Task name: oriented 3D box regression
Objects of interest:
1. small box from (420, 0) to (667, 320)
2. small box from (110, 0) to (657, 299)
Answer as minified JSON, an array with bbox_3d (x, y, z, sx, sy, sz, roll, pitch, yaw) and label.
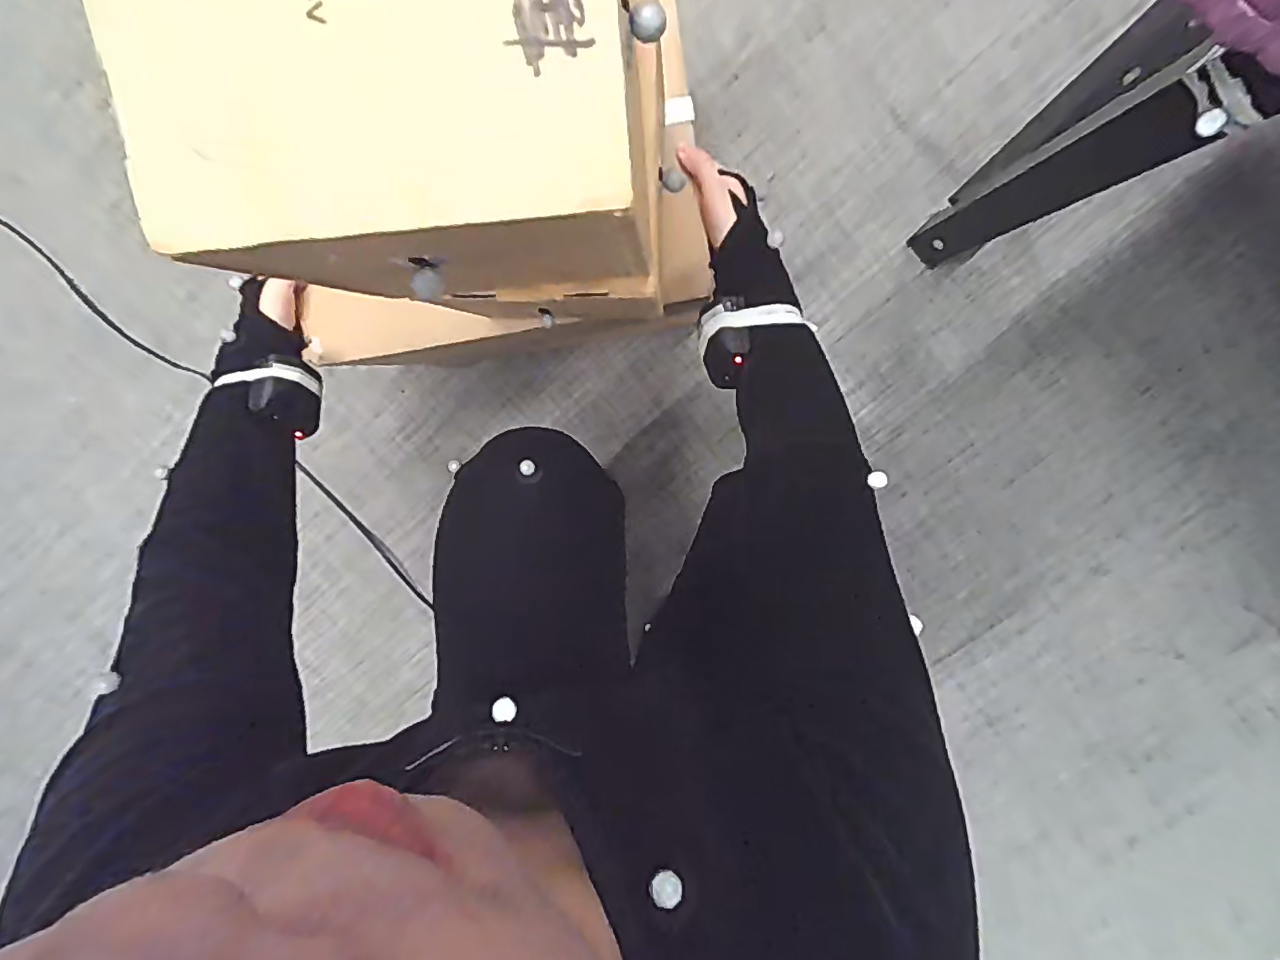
[{"bbox_3d":[-0.064,-0.218,0.412,0.168,0.176,0.179,1,104,3],"label":"small box"},{"bbox_3d":[-0.087,-0.181,0.252,0.179,0.176,0.168,-3,104,5],"label":"small box"}]
